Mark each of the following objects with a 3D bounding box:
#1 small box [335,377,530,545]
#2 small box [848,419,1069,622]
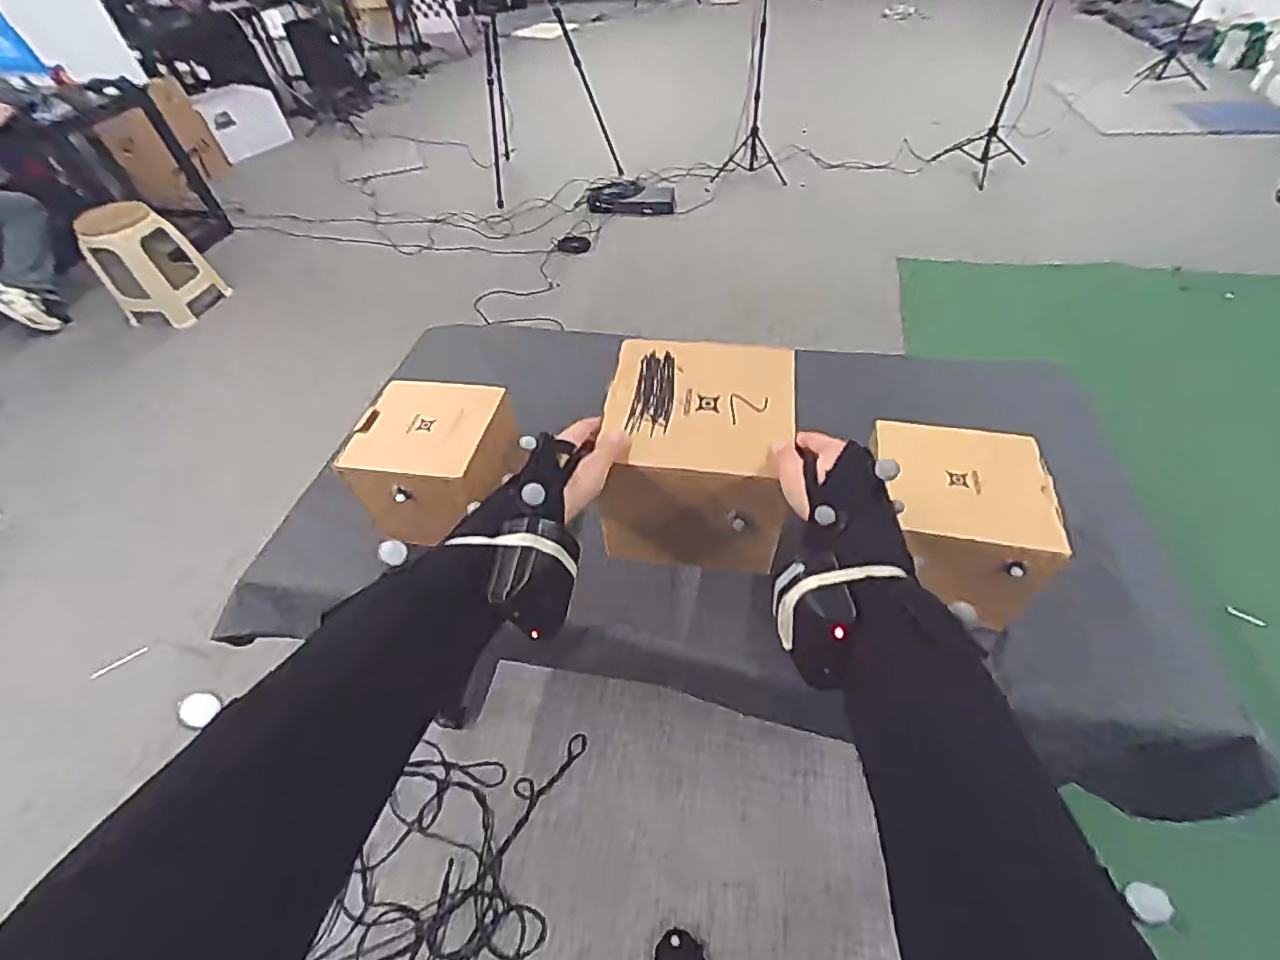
[{"bbox_3d":[-0.274,-0.024,0.761,0.179,0.176,0.168,6,52,8],"label":"small box"},{"bbox_3d":[0.354,0.051,0.646,0.179,0.176,0.168,8,51,11],"label":"small box"}]
